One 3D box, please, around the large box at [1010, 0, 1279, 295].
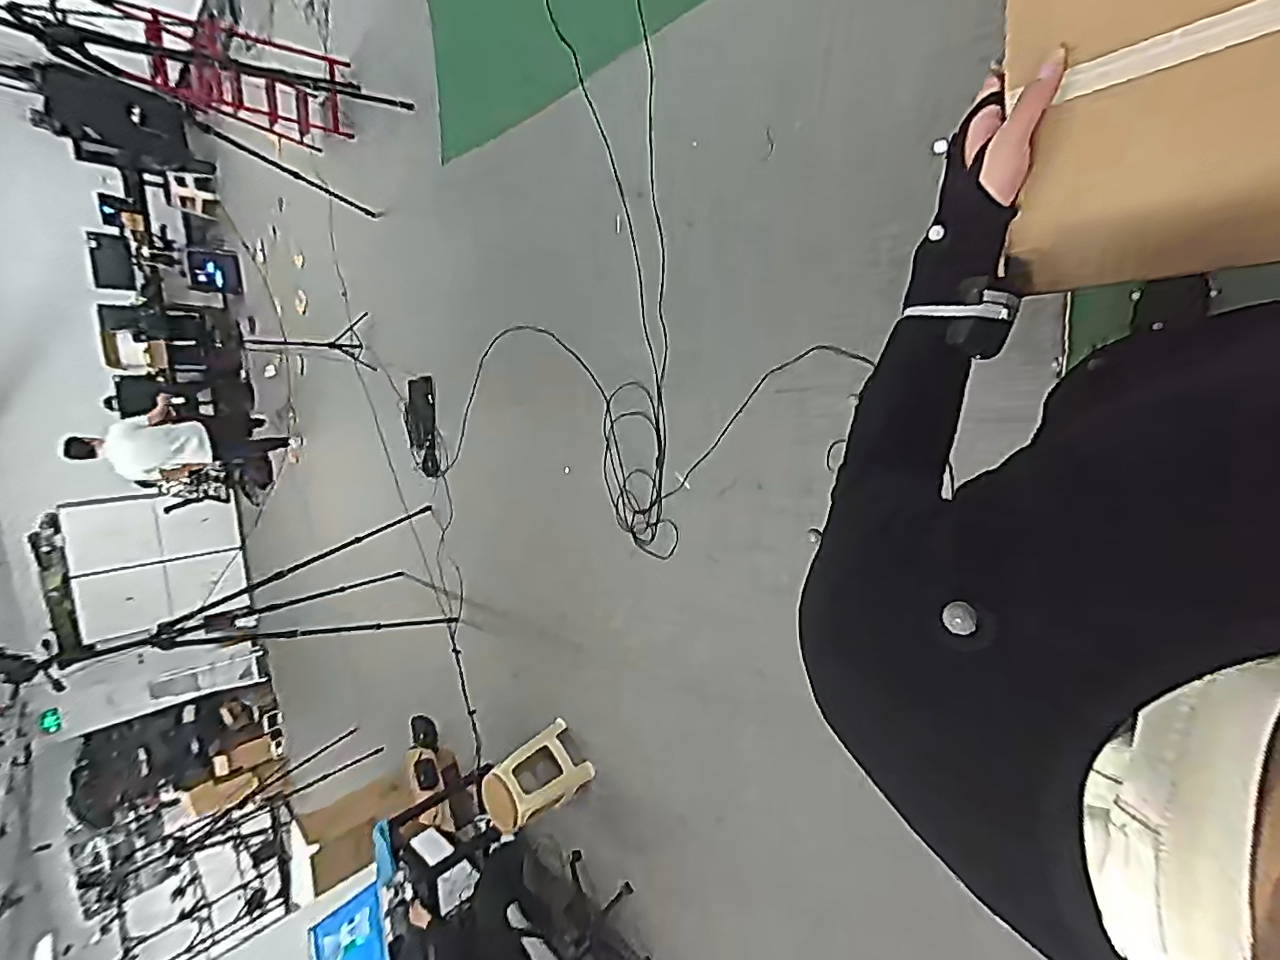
[{"bbox_3d":[0.563,-0.349,0.428,0.408,0.320,0.320,5,111,45],"label":"large box"}]
